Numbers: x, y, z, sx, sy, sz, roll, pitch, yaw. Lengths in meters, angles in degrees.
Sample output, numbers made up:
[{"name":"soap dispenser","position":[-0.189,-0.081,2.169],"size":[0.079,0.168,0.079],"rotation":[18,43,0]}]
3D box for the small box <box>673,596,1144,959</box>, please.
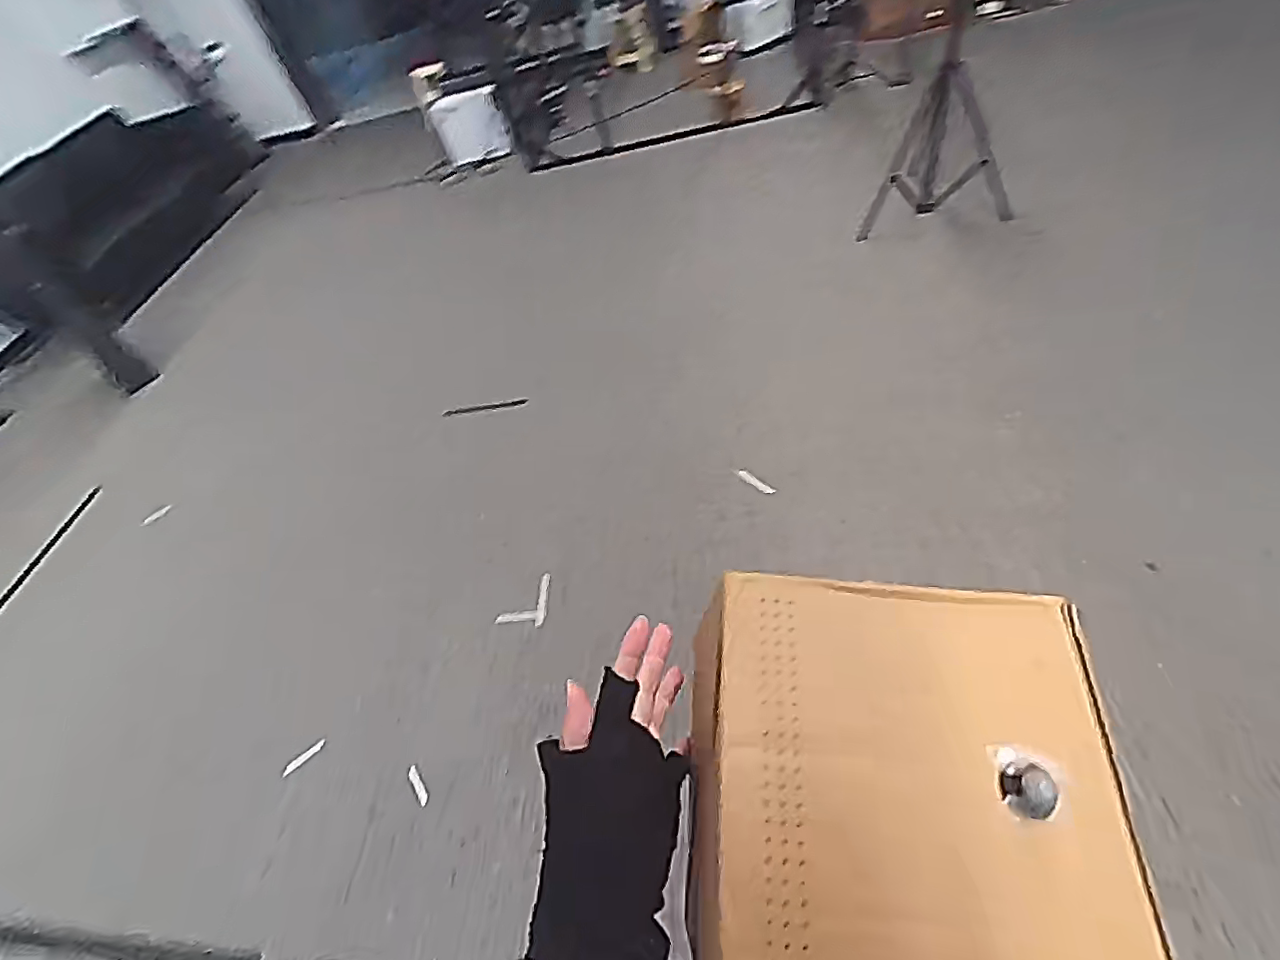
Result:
[{"name":"small box","position":[0.111,0.173,0.304],"size":[0.176,0.168,0.179],"rotation":[4,61,2]}]
